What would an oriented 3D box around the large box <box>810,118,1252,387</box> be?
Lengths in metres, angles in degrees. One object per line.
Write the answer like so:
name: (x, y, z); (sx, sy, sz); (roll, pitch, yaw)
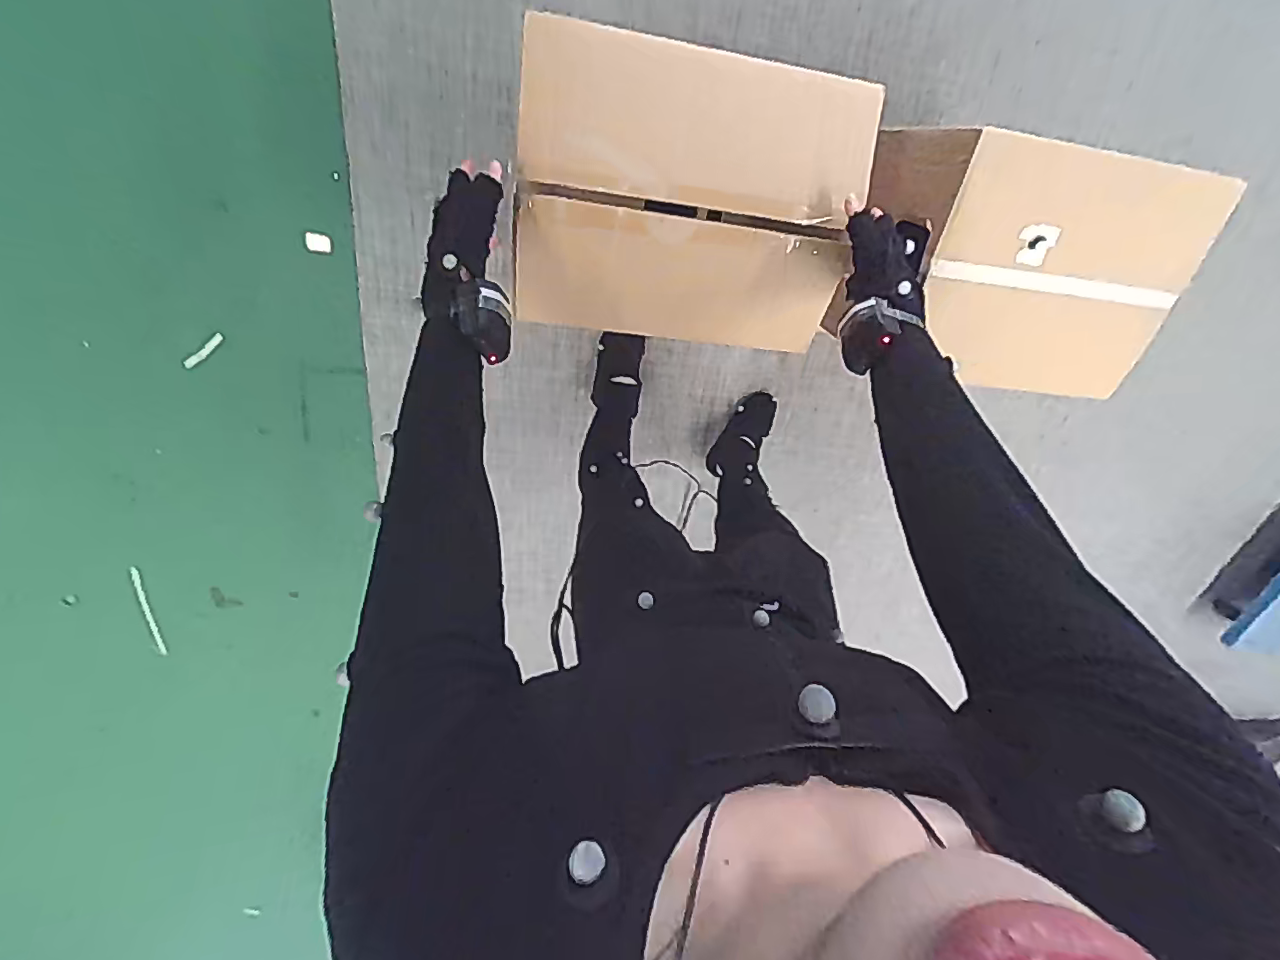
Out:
large box: (0.550, -0.365, 0.859); (0.408, 0.320, 0.320); (4, 122, -9)
